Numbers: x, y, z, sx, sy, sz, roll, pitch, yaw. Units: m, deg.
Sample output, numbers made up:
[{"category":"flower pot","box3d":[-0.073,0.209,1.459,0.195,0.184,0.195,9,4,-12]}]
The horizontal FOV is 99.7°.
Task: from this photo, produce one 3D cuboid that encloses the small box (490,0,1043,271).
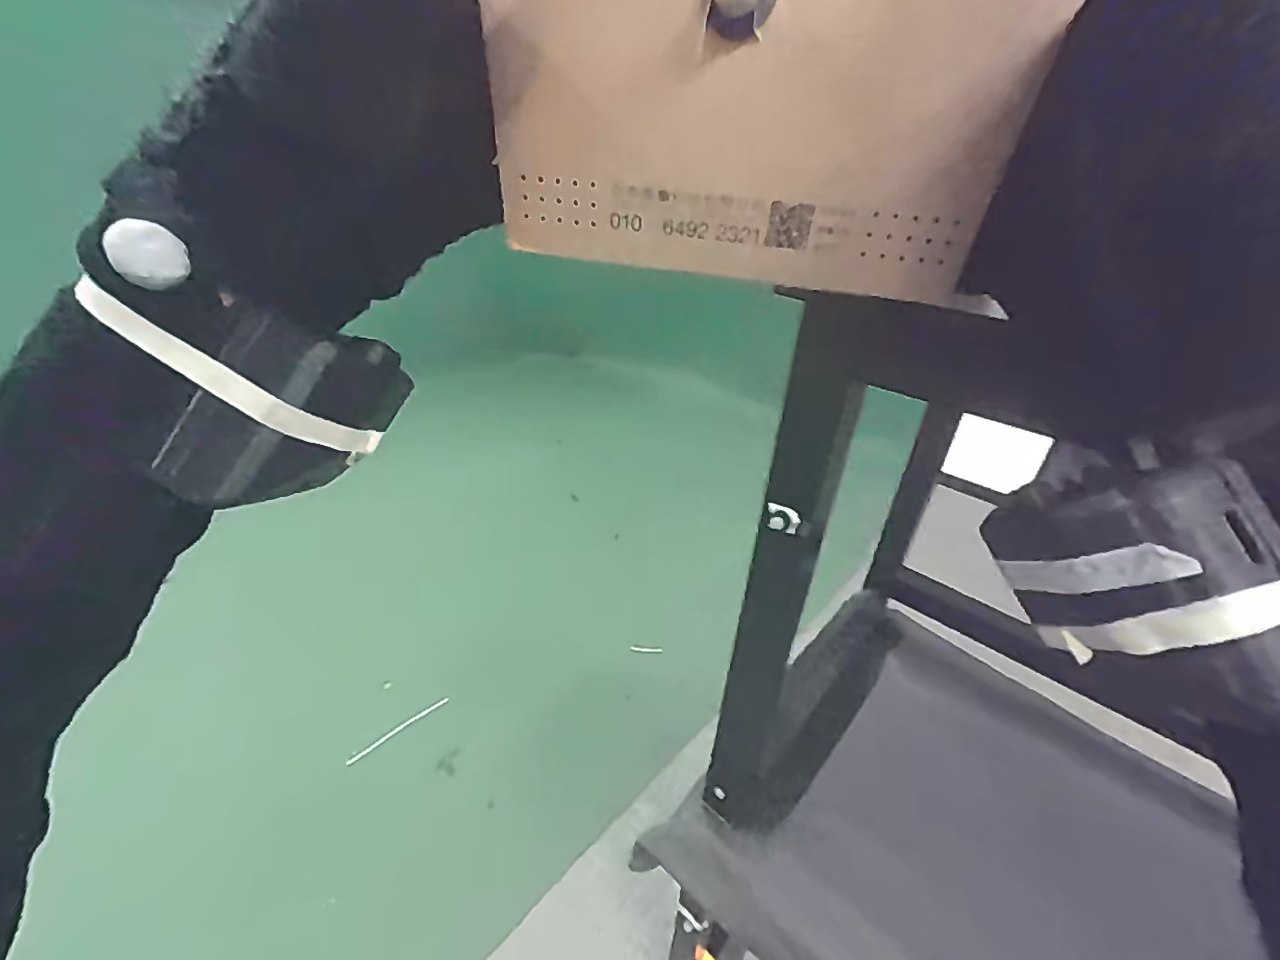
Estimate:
[{"category":"small box","box3d":[0.047,-0.196,0.208,0.168,0.176,0.179,9,41,6]}]
